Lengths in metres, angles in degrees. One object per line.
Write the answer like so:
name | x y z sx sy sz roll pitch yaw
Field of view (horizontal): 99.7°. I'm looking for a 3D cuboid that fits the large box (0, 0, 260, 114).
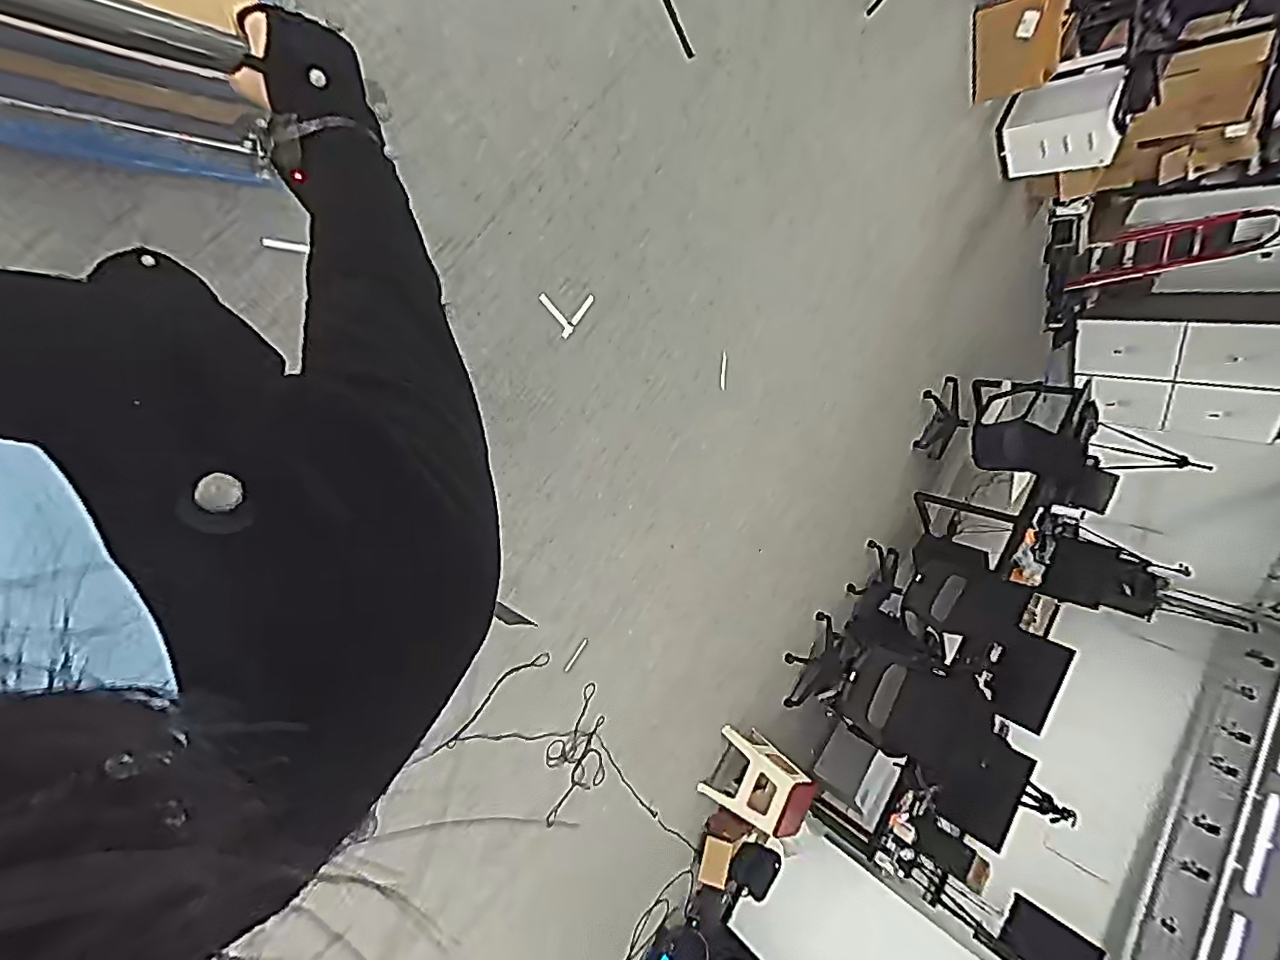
large box | -0.780 -0.733 0.695 0.408 0.320 0.320 -12 113 -43
